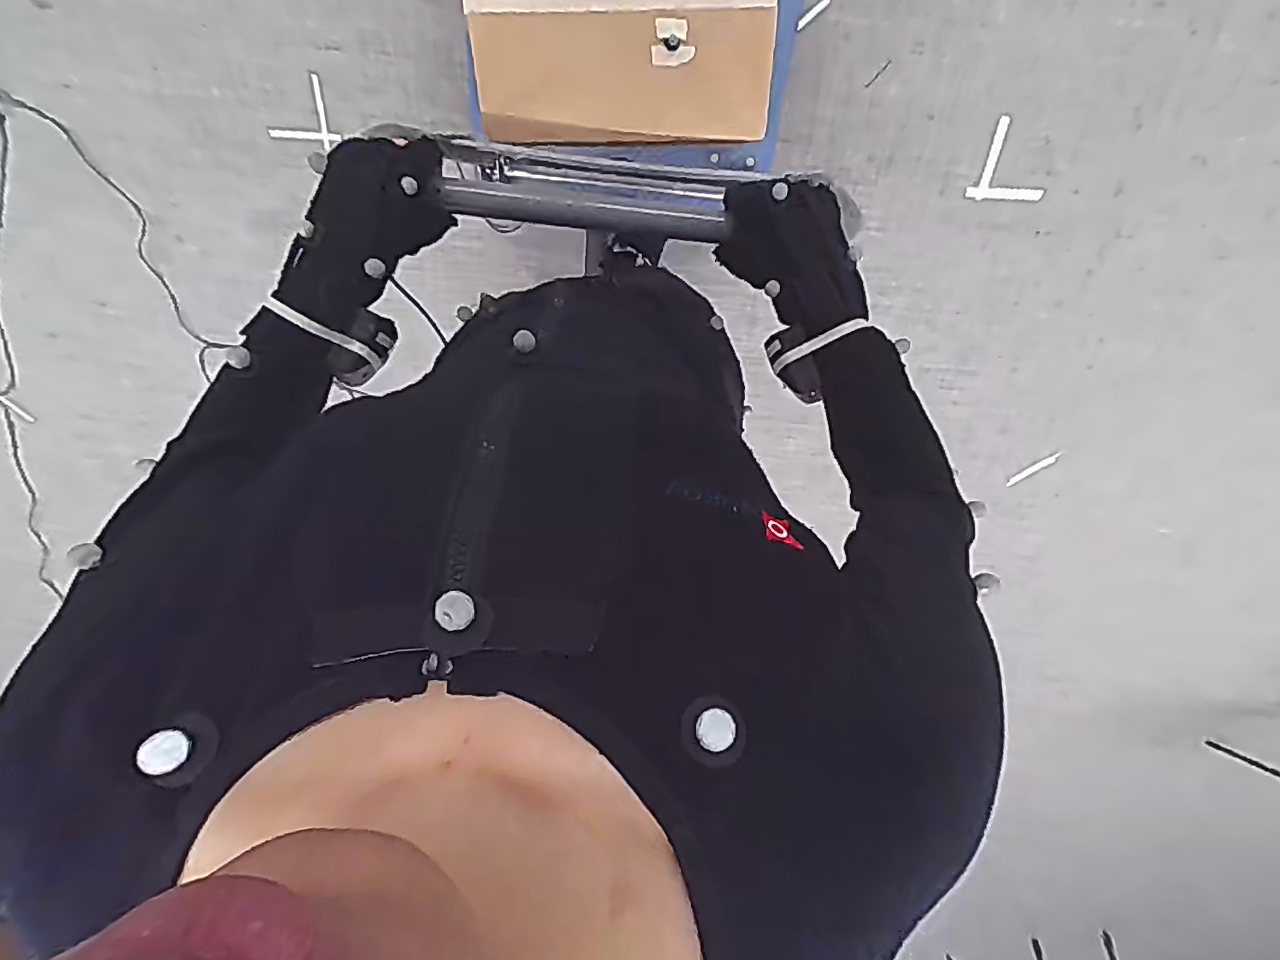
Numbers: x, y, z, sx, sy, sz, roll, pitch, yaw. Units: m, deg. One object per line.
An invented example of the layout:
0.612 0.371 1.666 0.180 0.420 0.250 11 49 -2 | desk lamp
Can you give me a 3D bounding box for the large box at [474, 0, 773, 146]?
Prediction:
-0.026 -0.711 0.839 0.408 0.320 0.320 -1 121 -1 | large box
